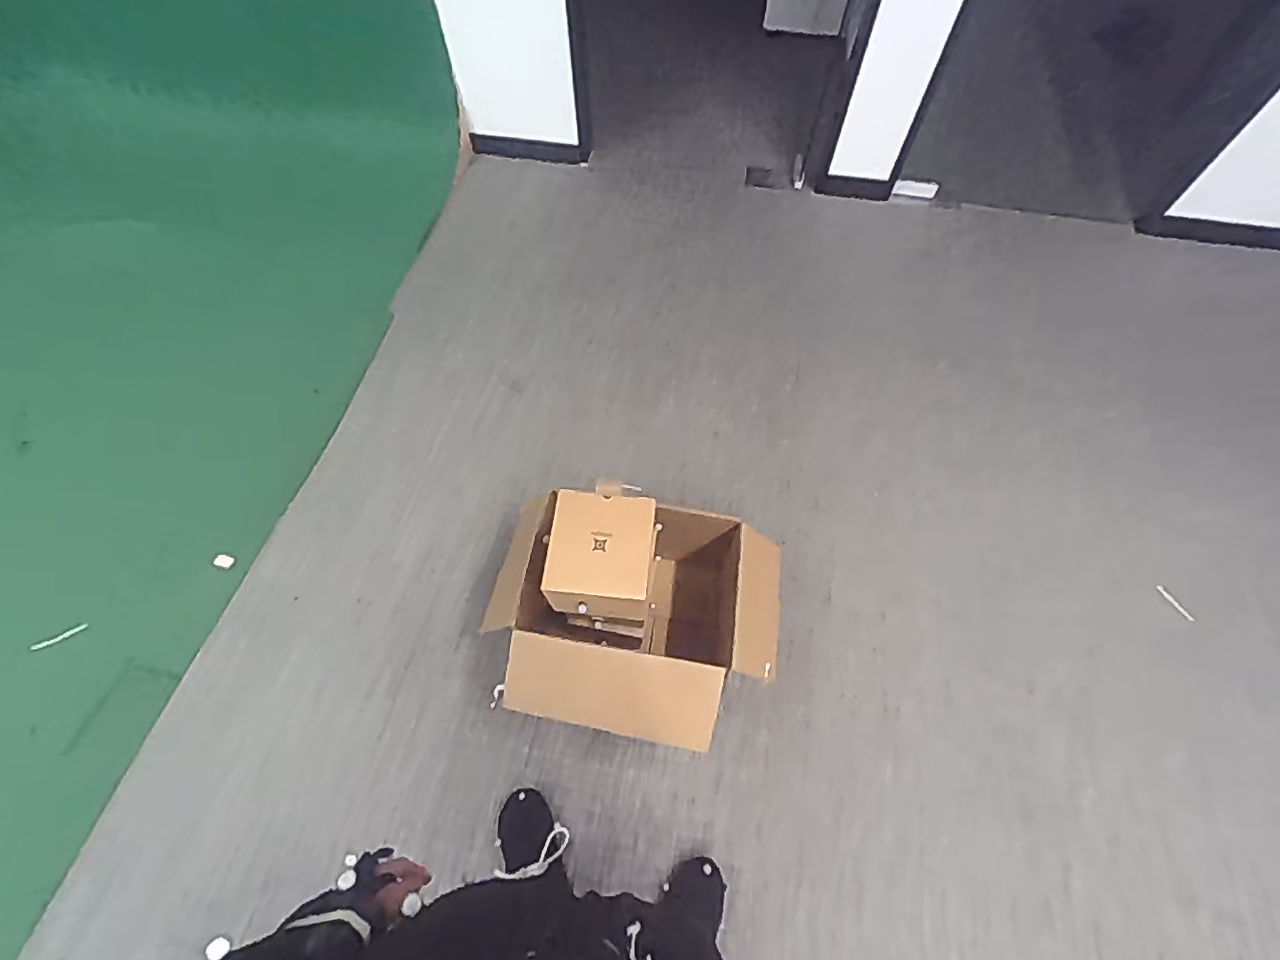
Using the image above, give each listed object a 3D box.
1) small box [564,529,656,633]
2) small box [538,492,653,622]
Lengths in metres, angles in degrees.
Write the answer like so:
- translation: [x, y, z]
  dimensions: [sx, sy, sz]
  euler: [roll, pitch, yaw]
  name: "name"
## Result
- translation: [-0.064, 0.195, 1.087]
  dimensions: [0.168, 0.176, 0.179]
  euler: [8, 65, 2]
  name: "small box"
- translation: [-0.068, 0.140, 0.935]
  dimensions: [0.168, 0.176, 0.179]
  euler: [5, 63, 2]
  name: "small box"
